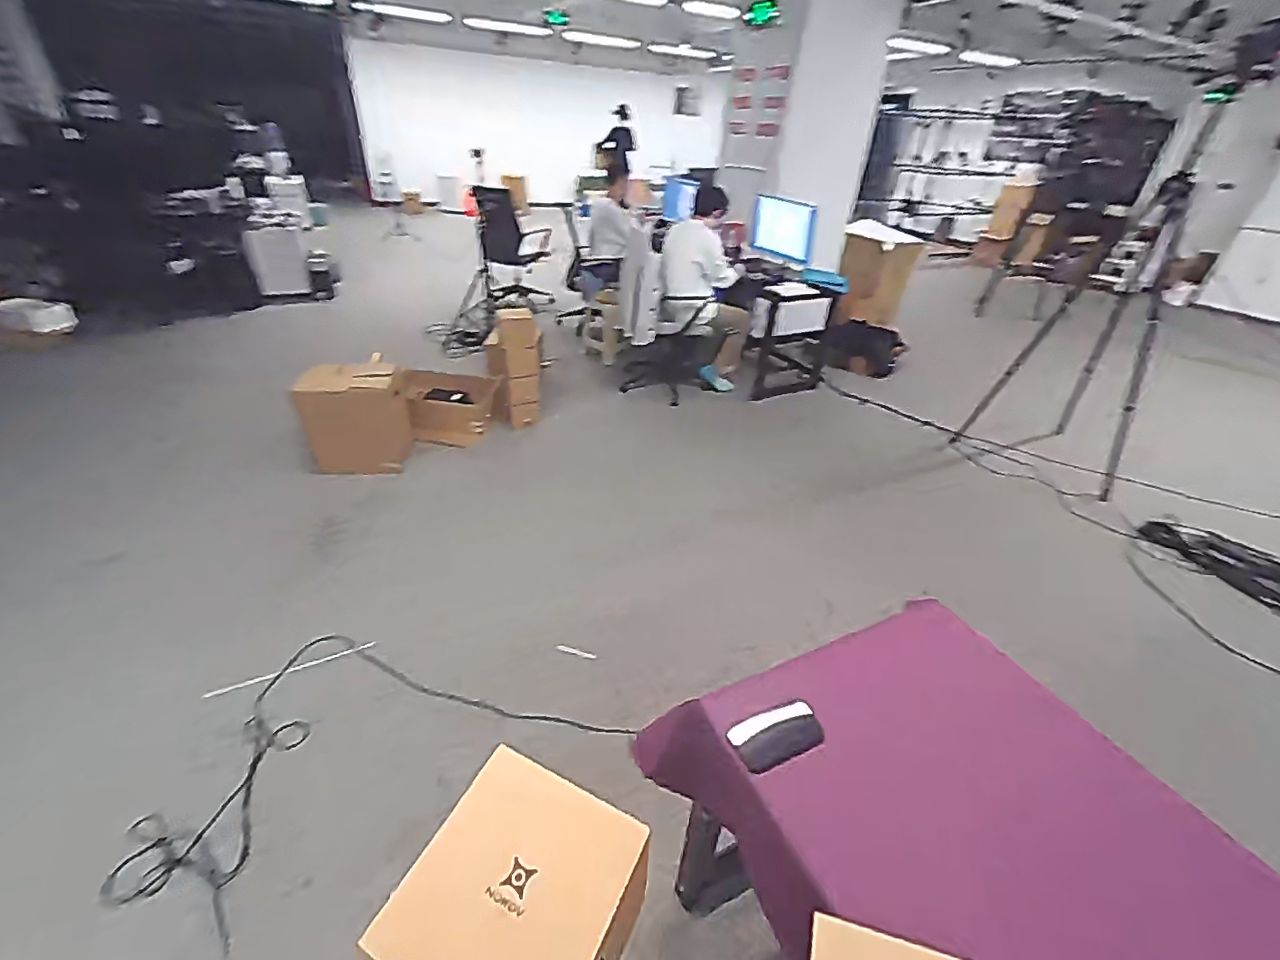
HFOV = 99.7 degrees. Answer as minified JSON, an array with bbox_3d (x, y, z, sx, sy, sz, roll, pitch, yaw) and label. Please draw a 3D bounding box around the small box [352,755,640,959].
[{"bbox_3d":[-0.112,0.400,0.488,0.168,0.176,0.179,17,40,19],"label":"small box"}]
